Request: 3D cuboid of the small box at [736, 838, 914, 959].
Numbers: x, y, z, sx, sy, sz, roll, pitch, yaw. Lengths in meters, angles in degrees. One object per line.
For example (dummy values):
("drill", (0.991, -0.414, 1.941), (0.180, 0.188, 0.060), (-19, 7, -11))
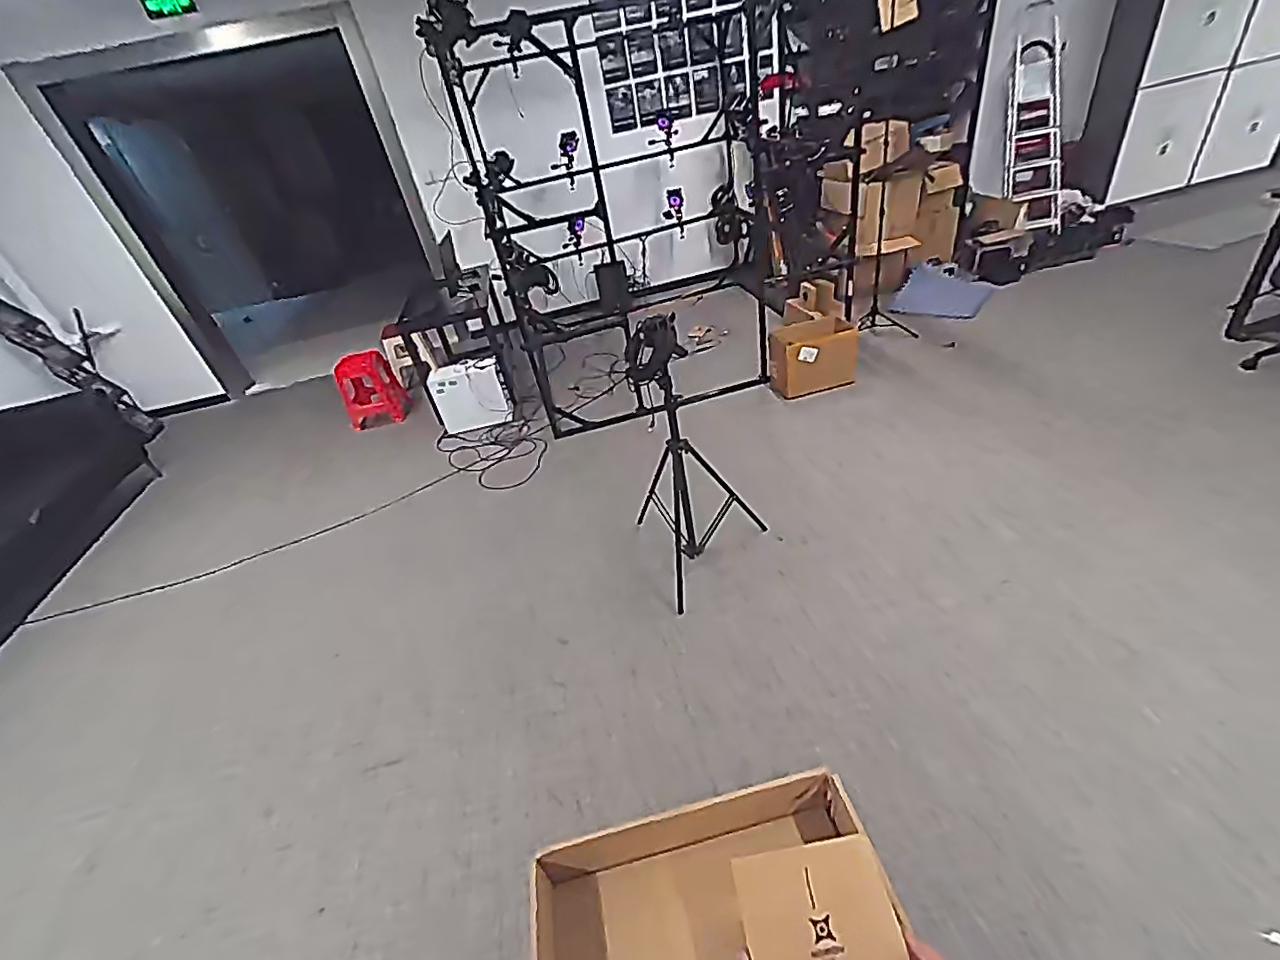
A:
("small box", (0.216, 0.551, 0.630), (0.168, 0.176, 0.179), (-12, 43, 2))
